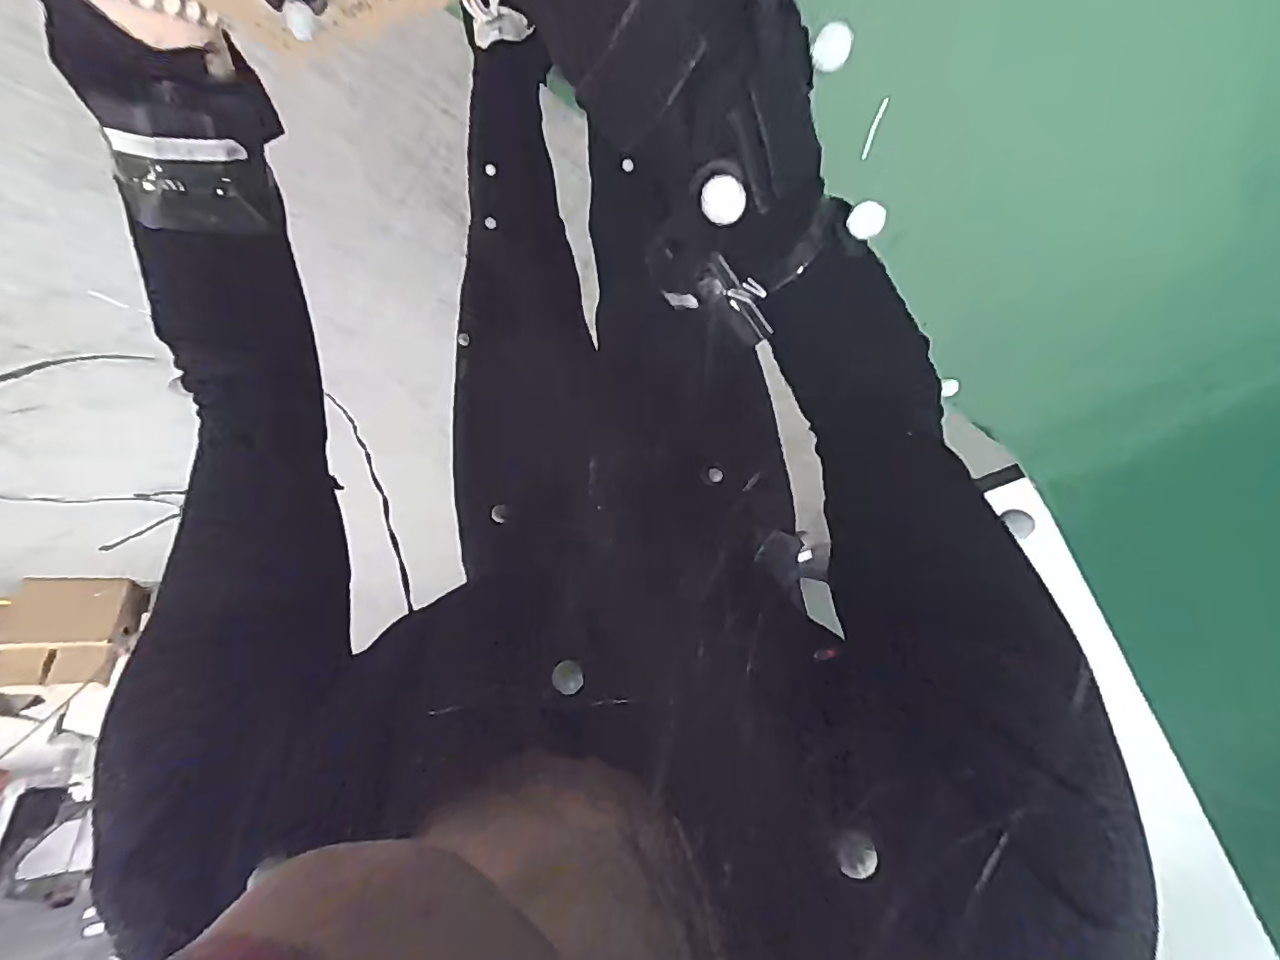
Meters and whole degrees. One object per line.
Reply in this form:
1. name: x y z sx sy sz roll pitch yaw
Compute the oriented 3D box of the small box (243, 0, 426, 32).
1. small box: -0.103 -0.263 0.133 0.168 0.179 0.176 -8 -174 15
